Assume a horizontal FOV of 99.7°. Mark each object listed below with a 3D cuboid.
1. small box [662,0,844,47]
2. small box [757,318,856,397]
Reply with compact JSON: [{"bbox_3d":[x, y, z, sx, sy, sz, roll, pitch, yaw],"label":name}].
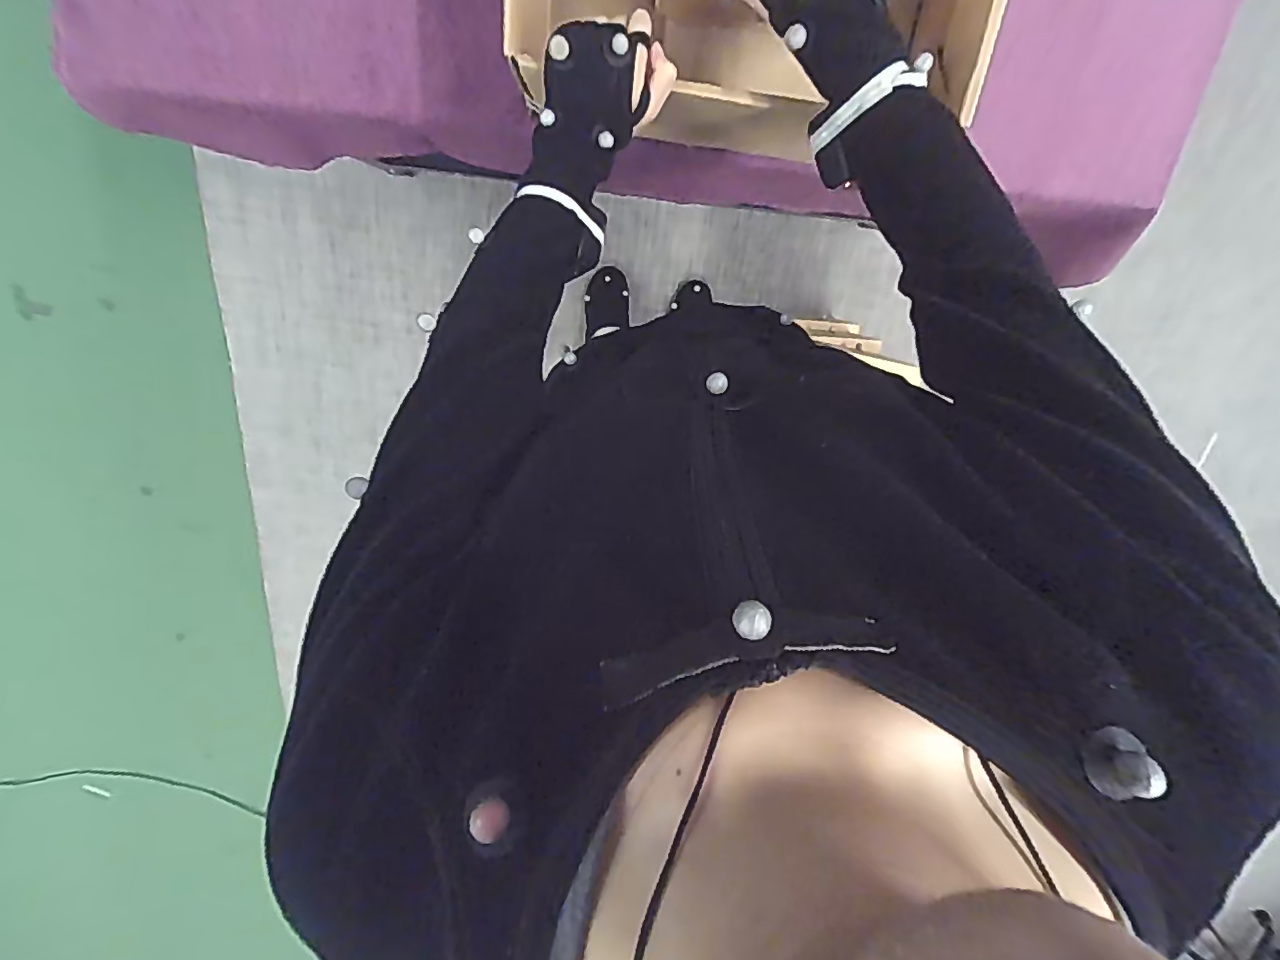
[{"bbox_3d":[0.109,-0.499,0.444,0.168,0.176,0.179,6,109,-4],"label":"small box"},{"bbox_3d":[0.411,-0.314,1.363,0.179,0.176,0.168,4,111,-3],"label":"small box"}]
